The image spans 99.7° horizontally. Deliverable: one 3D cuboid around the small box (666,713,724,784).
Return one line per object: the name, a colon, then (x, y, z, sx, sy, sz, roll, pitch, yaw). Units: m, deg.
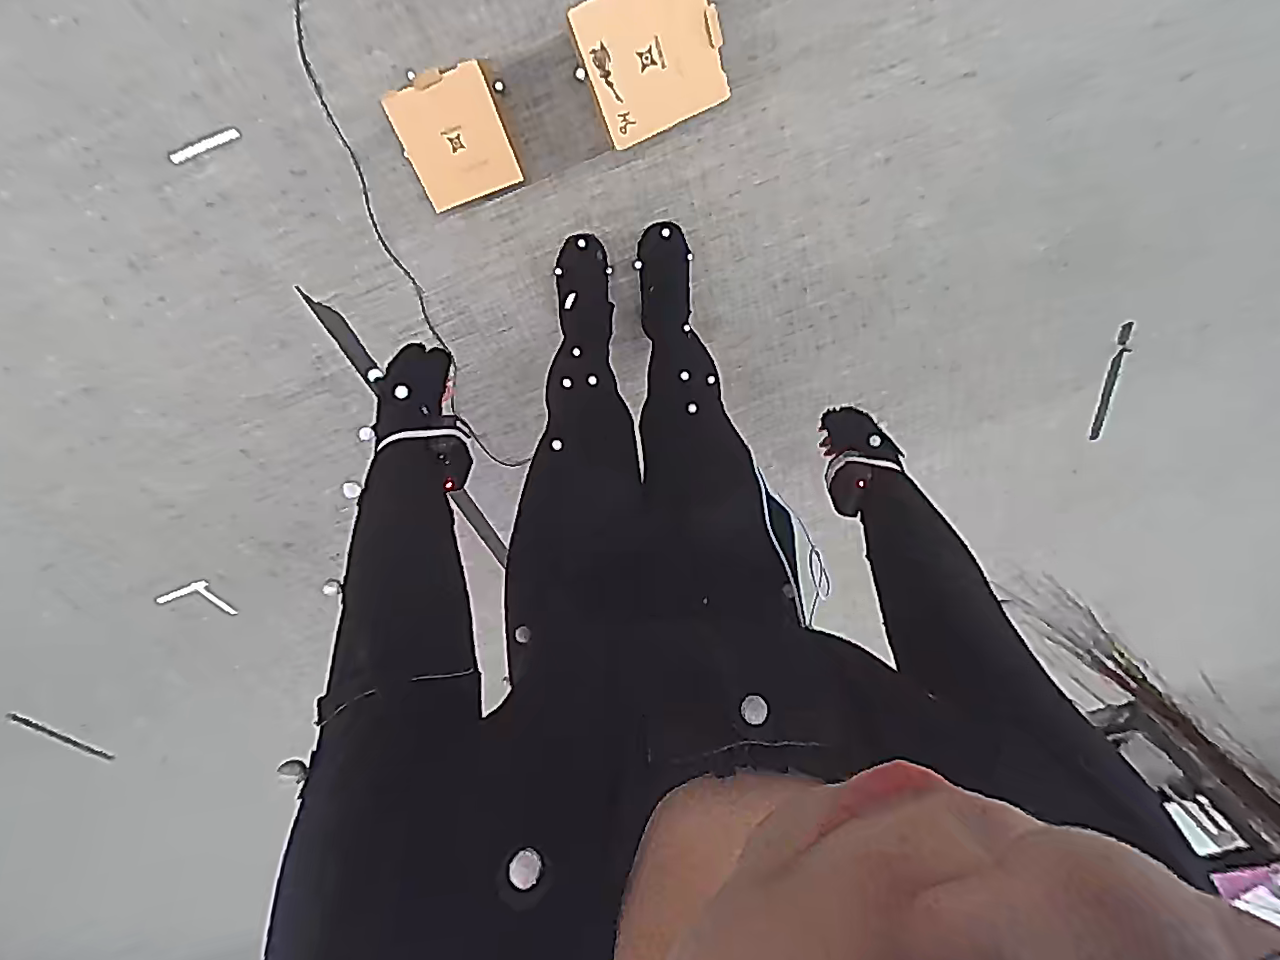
small box: (0.203, 1.011, 2.042, 0.179, 0.176, 0.168, -16, 129, 3)

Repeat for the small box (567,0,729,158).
small box: (0.006, -0.595, 0.775, 0.179, 0.176, 0.168, -21, 127, 7)

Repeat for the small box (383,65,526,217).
small box: (-0.308, -0.591, 0.941, 0.168, 0.176, 0.179, -17, 129, 5)
